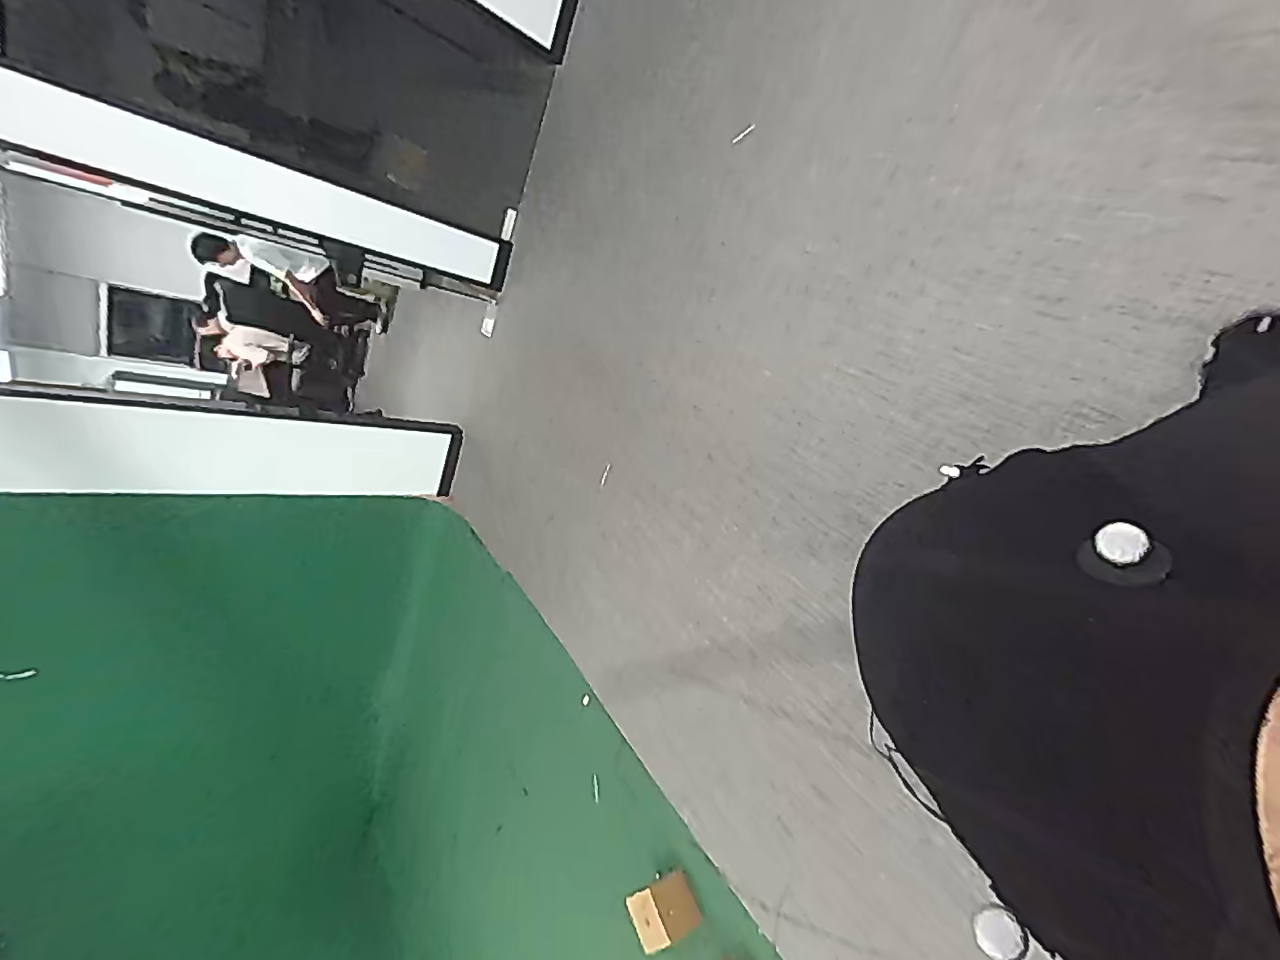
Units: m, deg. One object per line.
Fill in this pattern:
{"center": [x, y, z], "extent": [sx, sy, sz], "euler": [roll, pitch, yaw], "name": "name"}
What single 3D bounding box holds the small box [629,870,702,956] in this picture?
{"center": [0.095, 1.563, 1.957], "extent": [0.168, 0.176, 0.179], "euler": [-51, 53, 32], "name": "small box"}
